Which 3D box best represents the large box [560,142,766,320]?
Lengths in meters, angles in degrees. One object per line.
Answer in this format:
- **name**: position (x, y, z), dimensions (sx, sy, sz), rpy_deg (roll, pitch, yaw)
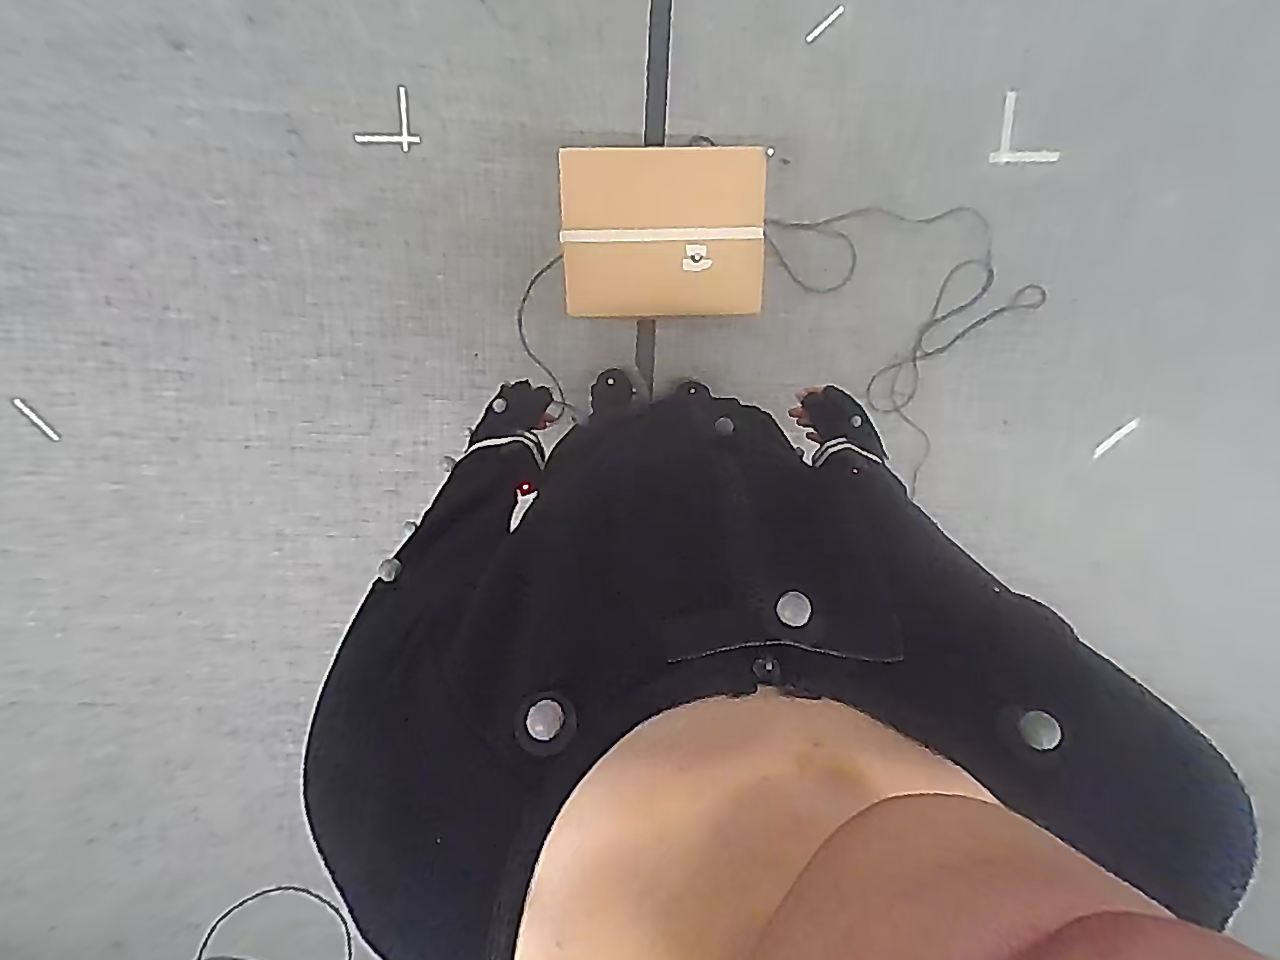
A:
- **large box**: position (0.043, -0.531, 1.214), dimensions (0.408, 0.320, 0.320), rpy_deg (-1, 105, -2)
